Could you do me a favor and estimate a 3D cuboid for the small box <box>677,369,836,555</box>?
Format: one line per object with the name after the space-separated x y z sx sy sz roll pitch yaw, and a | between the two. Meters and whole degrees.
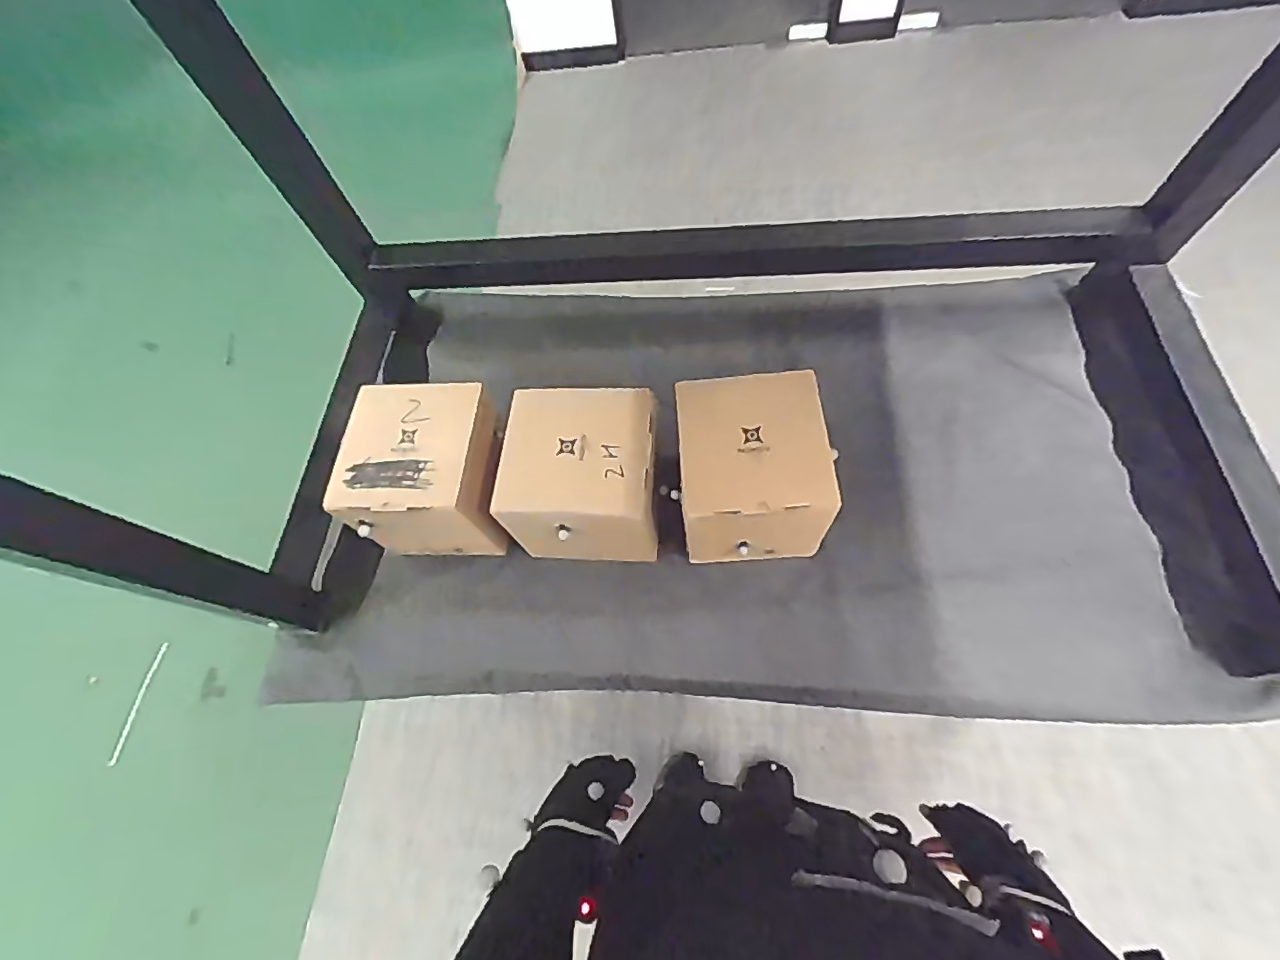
0.134 -0.016 0.689 0.168 0.176 0.179 -5 65 5 | small box
